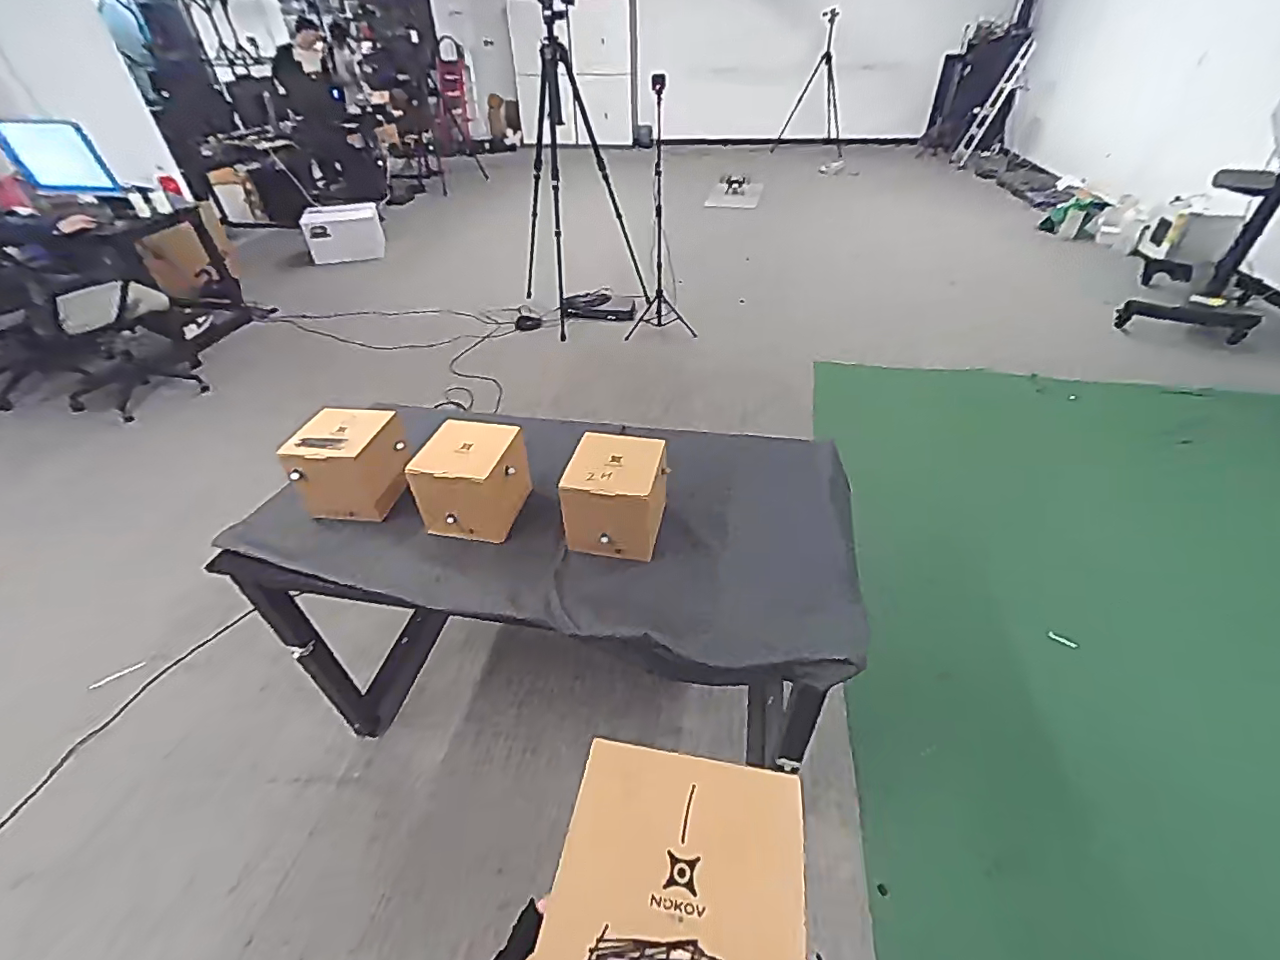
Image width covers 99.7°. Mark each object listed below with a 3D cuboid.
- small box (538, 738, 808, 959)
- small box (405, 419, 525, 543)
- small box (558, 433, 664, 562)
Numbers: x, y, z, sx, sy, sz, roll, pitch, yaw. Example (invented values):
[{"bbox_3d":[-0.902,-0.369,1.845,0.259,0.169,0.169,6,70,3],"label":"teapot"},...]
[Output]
[{"bbox_3d":[0.030,0.334,0.410,0.168,0.176,0.179,7,39,10],"label":"small box"},{"bbox_3d":[-0.343,0.000,1.102,0.168,0.176,0.179,7,41,9],"label":"small box"},{"bbox_3d":[-0.050,0.032,1.056,0.168,0.176,0.179,7,41,10],"label":"small box"}]
